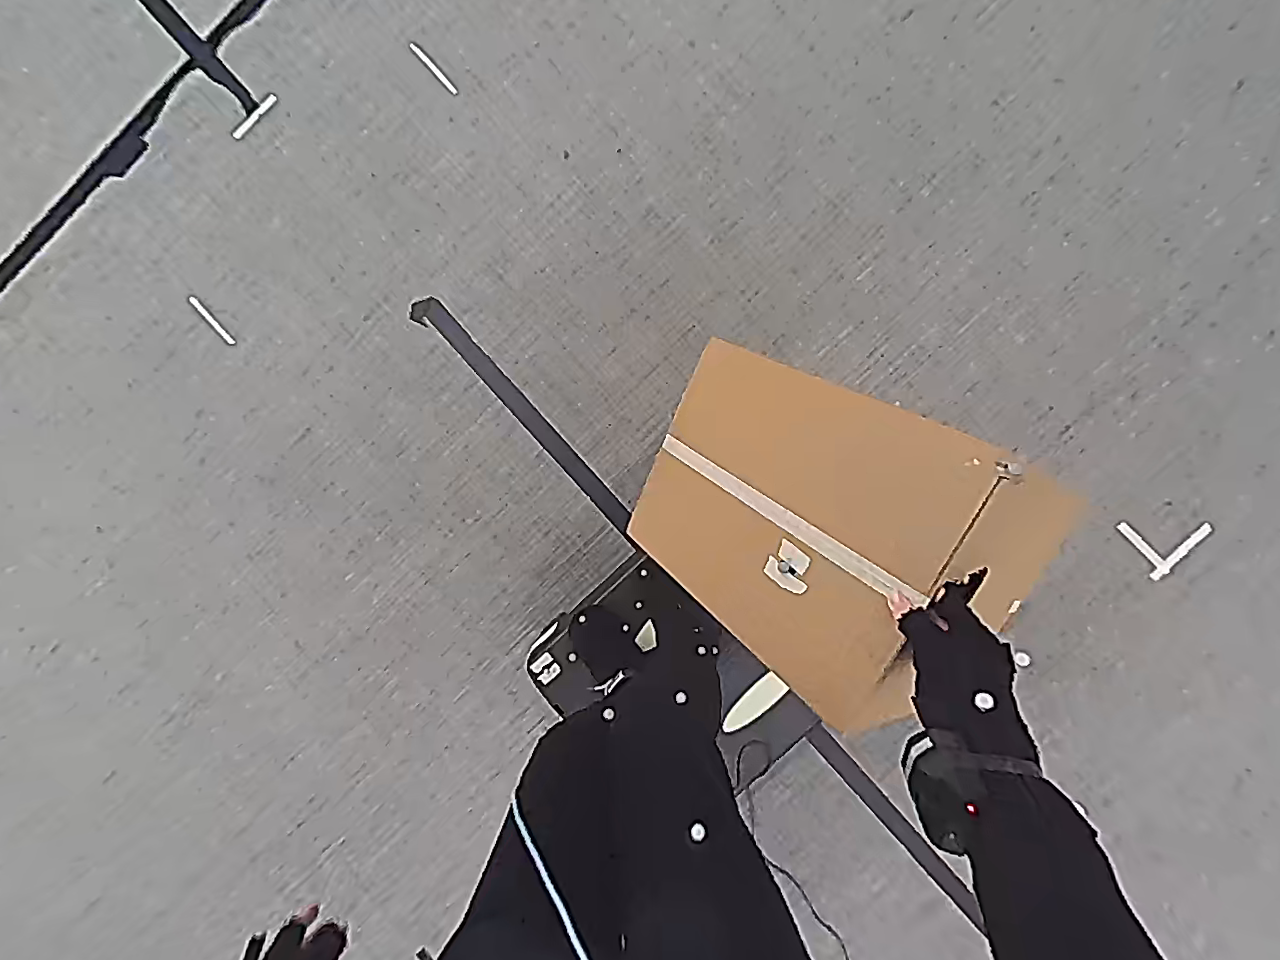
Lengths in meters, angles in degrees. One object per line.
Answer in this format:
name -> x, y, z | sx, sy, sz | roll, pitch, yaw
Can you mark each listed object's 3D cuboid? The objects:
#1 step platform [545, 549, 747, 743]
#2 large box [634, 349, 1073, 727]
step platform -> 0.109, 0.245, 1.204 | 0.684, 0.204, 0.286 | -44, 90, 2
large box -> 0.268, 0.054, 0.748 | 0.320, 0.408, 0.320 | 10, 110, -42
